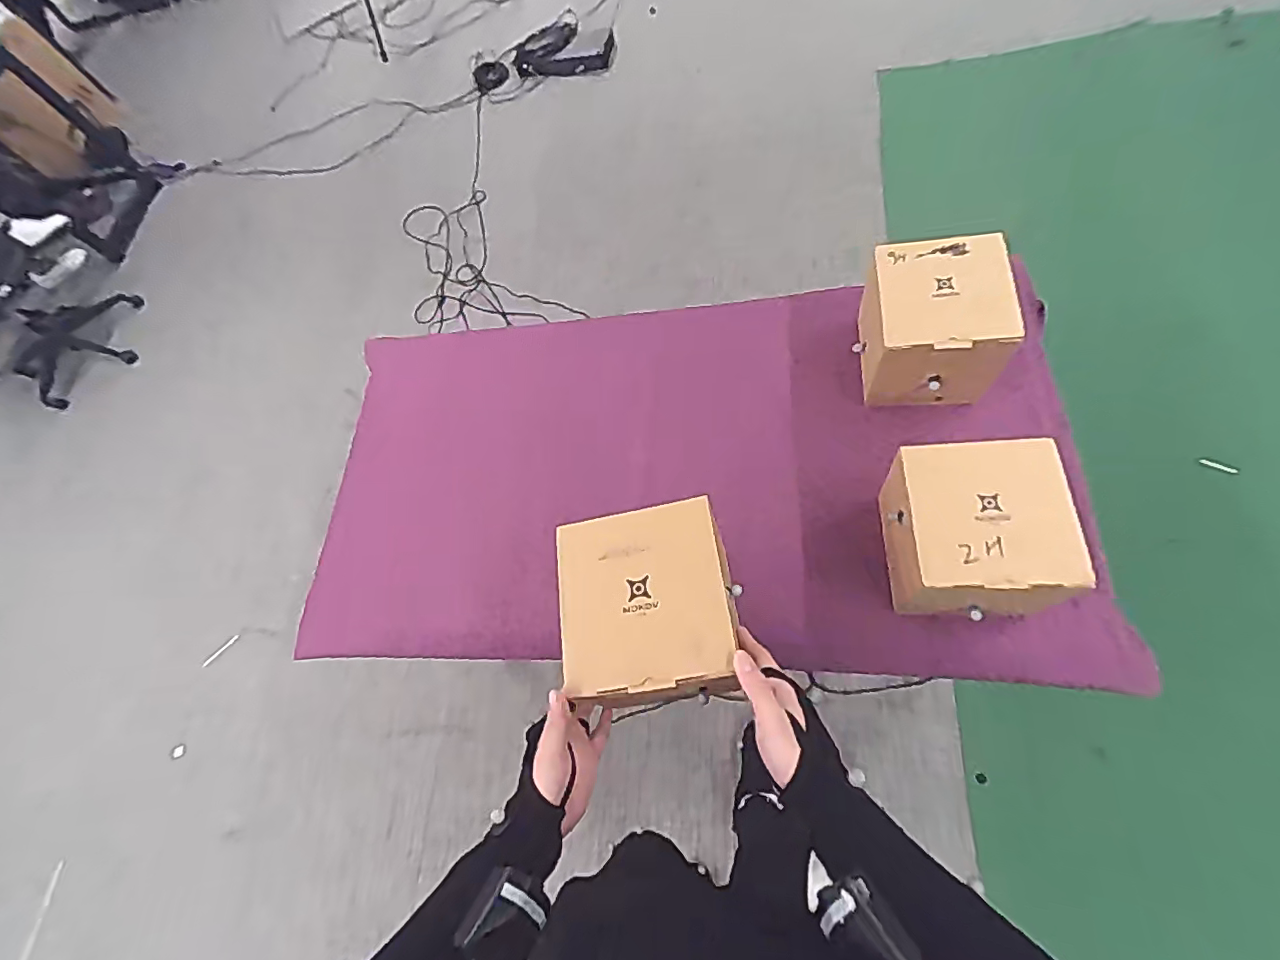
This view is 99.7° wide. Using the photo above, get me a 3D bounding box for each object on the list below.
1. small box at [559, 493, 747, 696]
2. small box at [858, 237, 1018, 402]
[{"bbox_3d":[0.019,0.138,0.599,0.168,0.176,0.179,-12,62,9],"label":"small box"},{"bbox_3d":[0.425,-0.224,0.802,0.168,0.176,0.179,0,70,13],"label":"small box"}]
